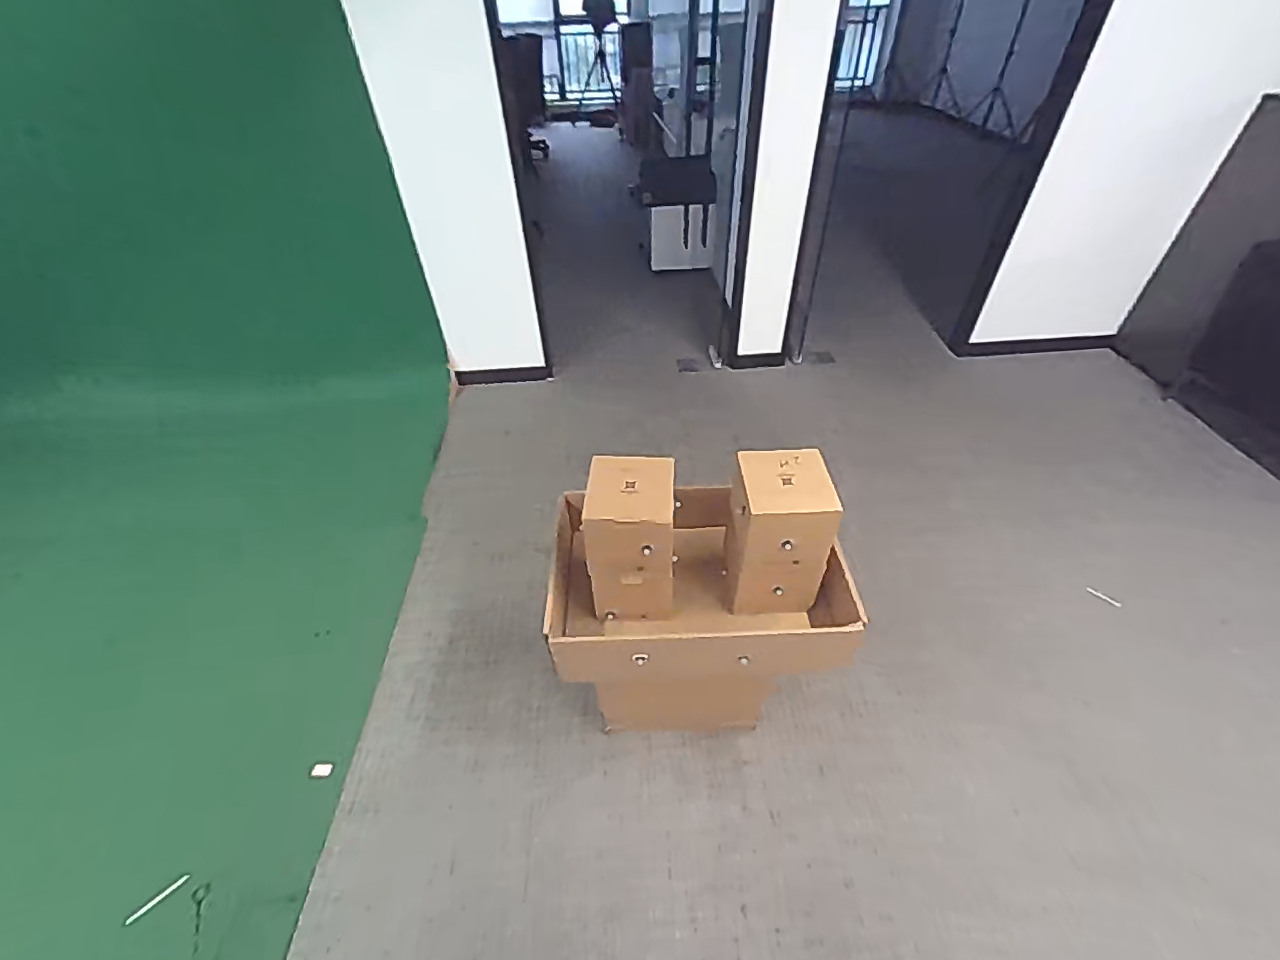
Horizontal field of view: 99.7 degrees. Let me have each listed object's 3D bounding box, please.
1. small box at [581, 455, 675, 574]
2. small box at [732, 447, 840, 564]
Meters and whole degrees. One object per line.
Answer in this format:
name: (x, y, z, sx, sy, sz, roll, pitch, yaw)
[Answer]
small box: (-0.016, 0.070, 1.076, 0.168, 0.176, 0.179, 2, 43, 3)
small box: (0.280, 0.054, 1.075, 0.168, 0.176, 0.179, -2, 43, 1)
